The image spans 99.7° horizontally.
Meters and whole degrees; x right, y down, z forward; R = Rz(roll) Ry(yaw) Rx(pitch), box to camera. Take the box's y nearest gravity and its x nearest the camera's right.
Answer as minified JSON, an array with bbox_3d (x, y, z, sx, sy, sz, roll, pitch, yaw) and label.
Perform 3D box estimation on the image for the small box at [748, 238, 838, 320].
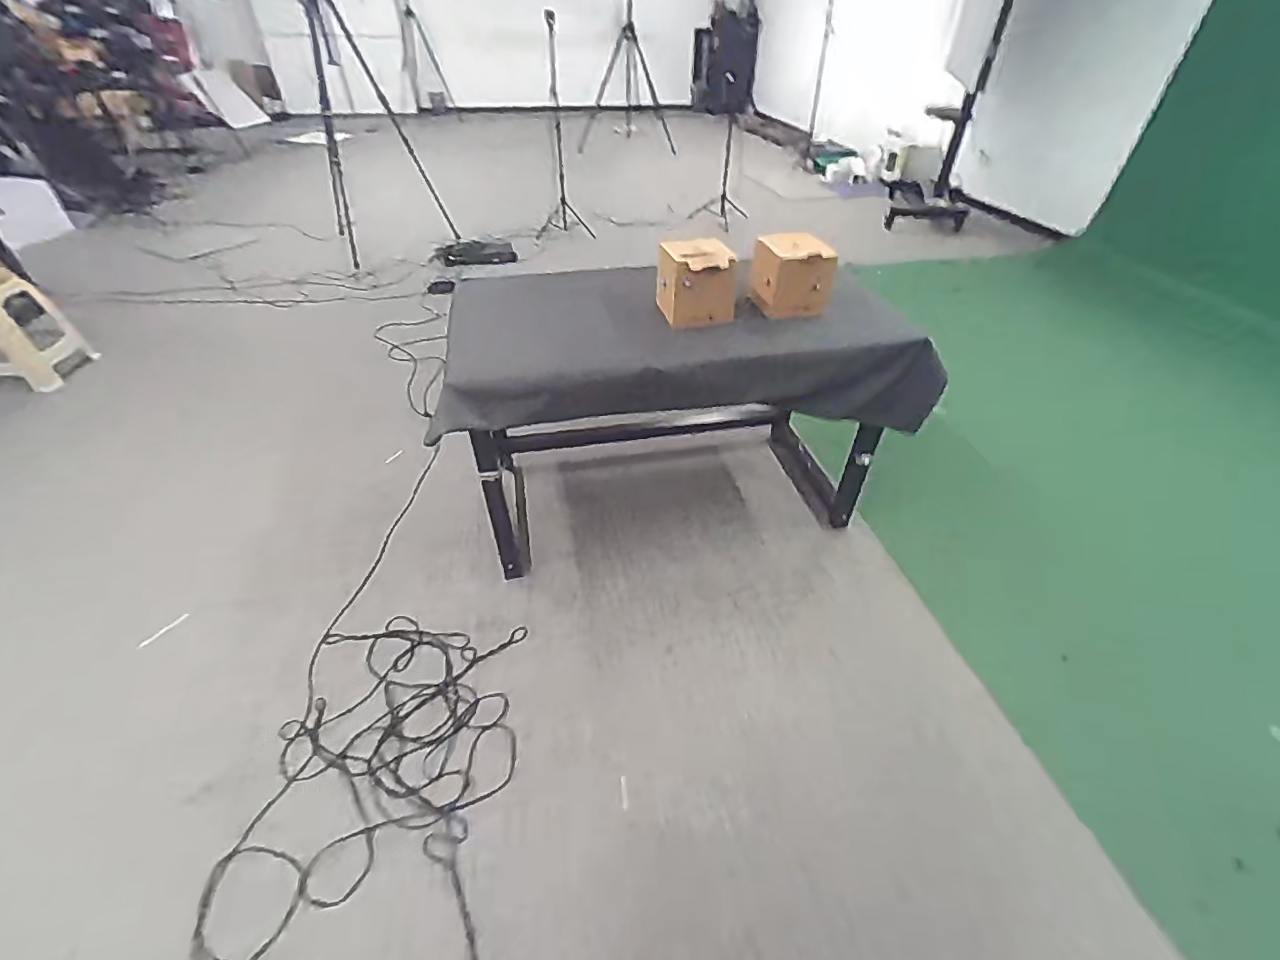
[{"bbox_3d":[0.412,-0.549,1.484,0.168,0.176,0.179,-7,41,-11],"label":"small box"}]
